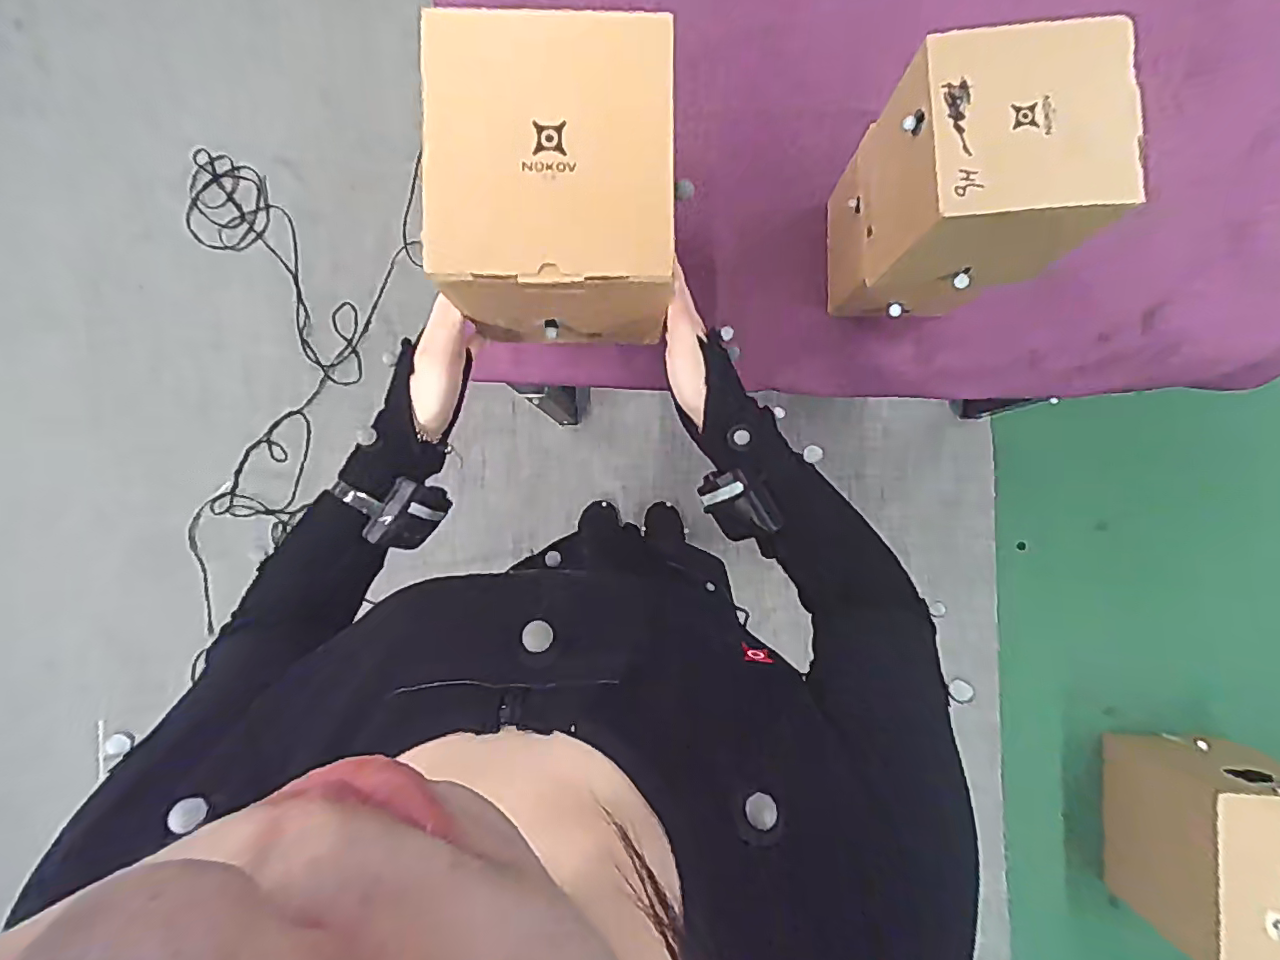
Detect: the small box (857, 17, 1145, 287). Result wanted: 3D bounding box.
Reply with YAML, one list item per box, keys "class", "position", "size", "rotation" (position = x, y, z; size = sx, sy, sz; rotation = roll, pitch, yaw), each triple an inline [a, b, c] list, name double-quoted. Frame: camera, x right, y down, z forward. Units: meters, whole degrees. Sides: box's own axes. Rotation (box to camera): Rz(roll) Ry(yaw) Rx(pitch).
- class: "small box"
  position: [0.336, -0.305, 0.537]
  size: [0.179, 0.176, 0.168]
  rotation: [-2, 88, 2]

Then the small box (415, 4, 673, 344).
- class: "small box"
  position: [-0.064, -0.215, 0.426]
  size: [0.168, 0.176, 0.179]
  rotation: [-1, 91, -2]

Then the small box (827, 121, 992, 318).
- class: "small box"
  position: [0.349, -0.326, 0.701]
  size: [0.168, 0.176, 0.179]
  rotation: [1, 88, 2]

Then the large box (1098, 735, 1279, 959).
- class: "large box"
  position: [1.364, 0.871, 1.282]
  size: [0.320, 0.320, 0.408]
  rotation: [1, 89, 2]
